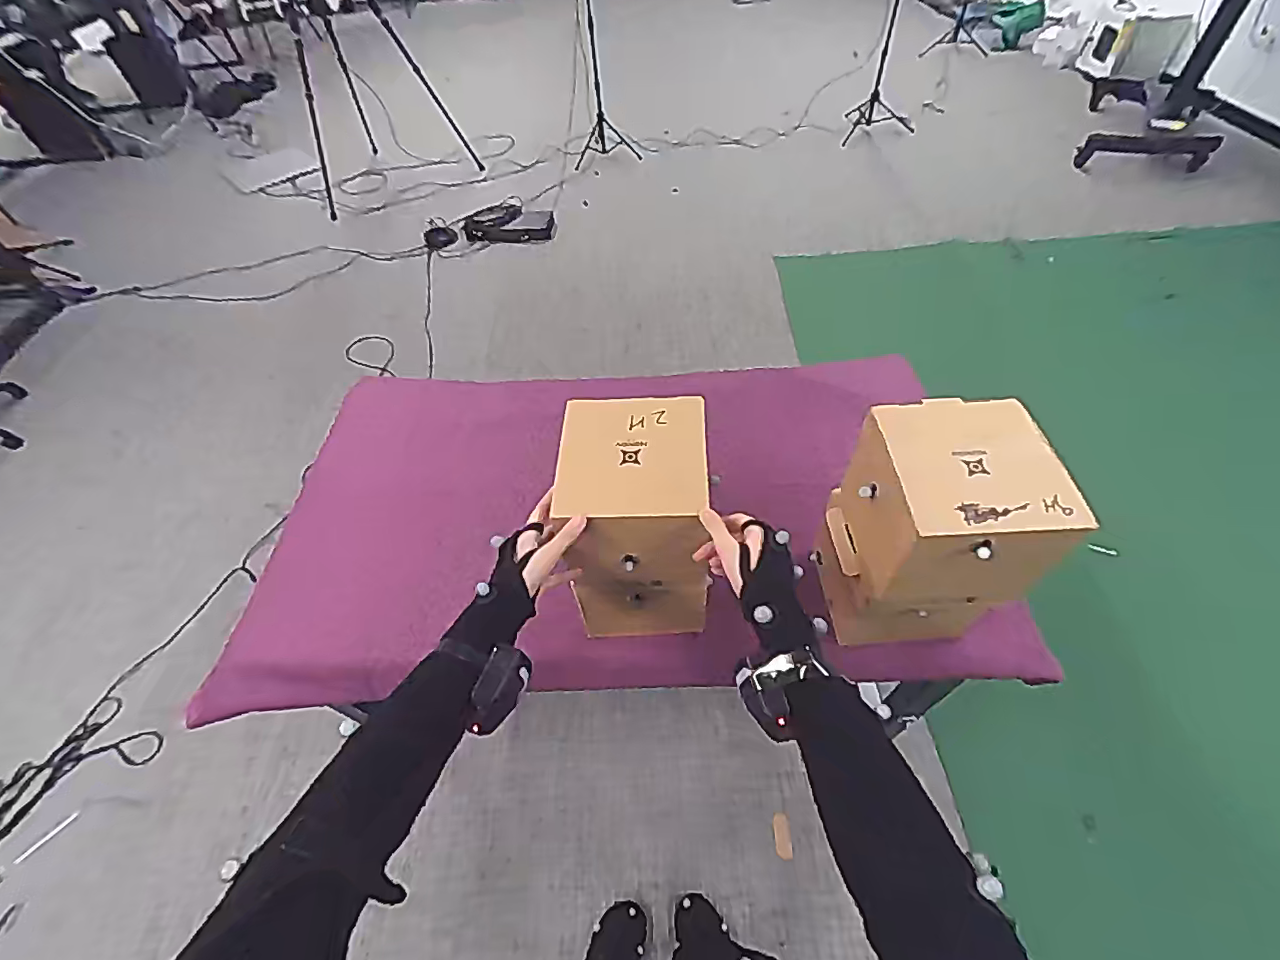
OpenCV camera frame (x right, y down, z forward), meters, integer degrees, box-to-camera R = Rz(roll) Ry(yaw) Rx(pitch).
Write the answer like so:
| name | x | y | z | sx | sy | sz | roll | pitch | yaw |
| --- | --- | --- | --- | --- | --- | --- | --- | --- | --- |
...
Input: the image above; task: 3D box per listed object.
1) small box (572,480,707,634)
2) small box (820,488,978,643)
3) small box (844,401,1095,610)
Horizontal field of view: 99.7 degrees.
| name | x | y | z | sx | sy | sz | roll | pitch | yaw |
| --- | --- | --- | --- | --- | --- | --- | --- | --- | --- |
| small box | 0.005 | 0.118 | 0.797 | 0.179 | 0.176 | 0.168 | -3 | 51 | 3 |
| small box | 0.363 | 0.119 | 0.761 | 0.179 | 0.176 | 0.168 | -5 | 52 | 2 |
| small box | 0.349 | 0.032 | 0.621 | 0.168 | 0.176 | 0.179 | -3 | 51 | 4 |
